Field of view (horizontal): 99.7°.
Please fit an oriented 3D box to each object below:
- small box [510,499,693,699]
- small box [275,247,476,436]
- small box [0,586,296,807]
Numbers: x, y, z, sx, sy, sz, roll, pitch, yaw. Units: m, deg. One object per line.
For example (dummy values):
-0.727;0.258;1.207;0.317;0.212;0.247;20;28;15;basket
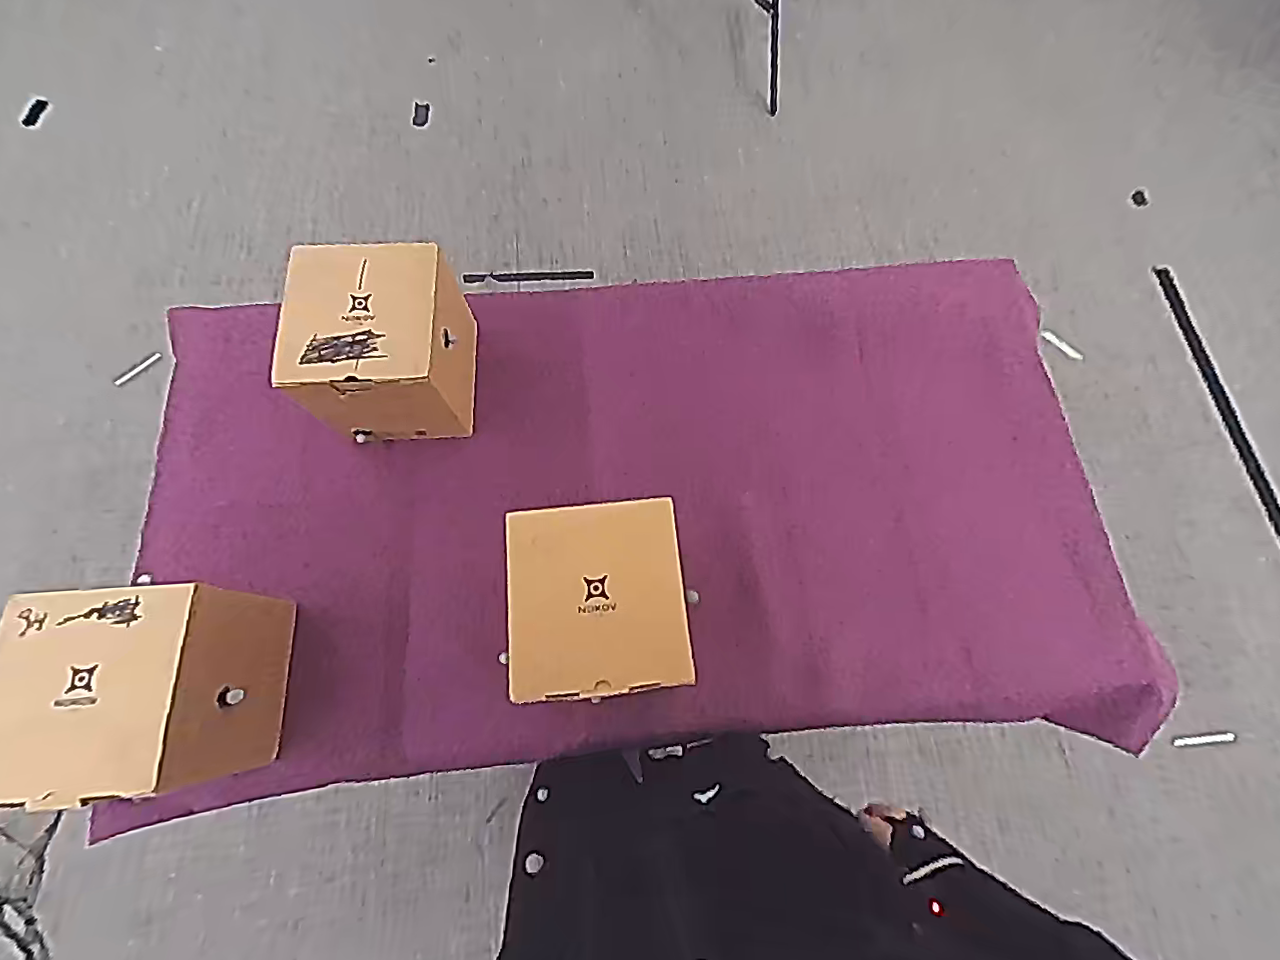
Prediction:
-0.043;0.133;0.585;0.168;0.176;0.179;-6;72;-3;small box
-0.308;-0.159;0.670;0.168;0.176;0.179;-2;73;-2;small box
-0.484;0.208;0.549;0.168;0.176;0.179;-3;72;-3;small box
